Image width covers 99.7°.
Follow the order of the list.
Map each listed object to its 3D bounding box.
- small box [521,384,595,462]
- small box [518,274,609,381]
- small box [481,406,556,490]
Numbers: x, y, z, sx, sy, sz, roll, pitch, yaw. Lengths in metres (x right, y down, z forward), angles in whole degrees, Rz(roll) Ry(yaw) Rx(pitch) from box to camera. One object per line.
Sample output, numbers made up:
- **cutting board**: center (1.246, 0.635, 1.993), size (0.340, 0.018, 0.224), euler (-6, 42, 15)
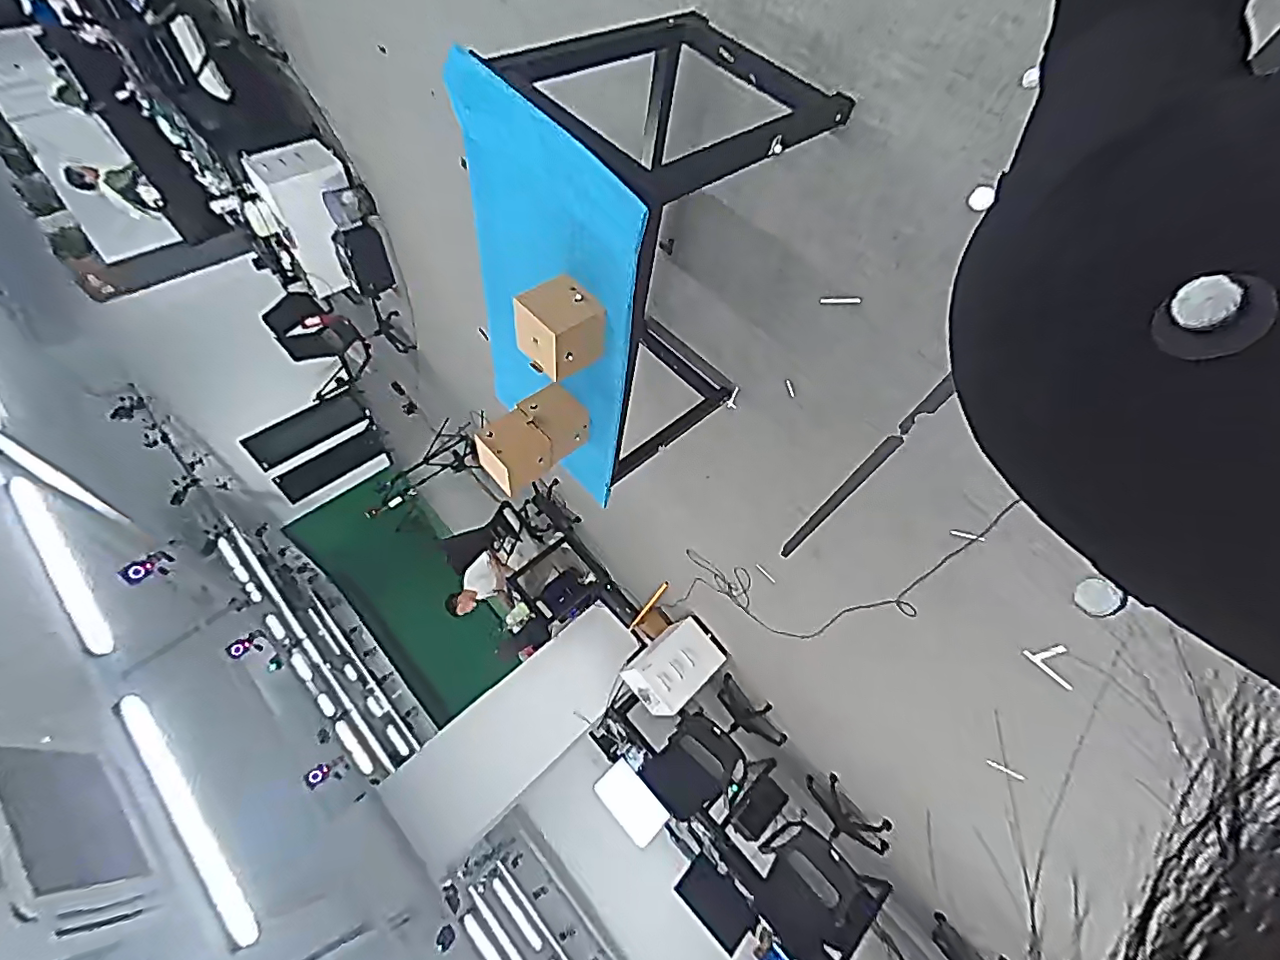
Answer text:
- **small box**: center (-0.275, -0.194, 1.806), size (0.179, 0.176, 0.168), euler (43, 154, 15)
- **small box**: center (-0.196, -0.399, 1.413), size (0.168, 0.176, 0.179), euler (44, 153, 18)
- **small box**: center (-0.387, -0.097, 1.727), size (0.168, 0.176, 0.179), euler (45, 153, 17)
